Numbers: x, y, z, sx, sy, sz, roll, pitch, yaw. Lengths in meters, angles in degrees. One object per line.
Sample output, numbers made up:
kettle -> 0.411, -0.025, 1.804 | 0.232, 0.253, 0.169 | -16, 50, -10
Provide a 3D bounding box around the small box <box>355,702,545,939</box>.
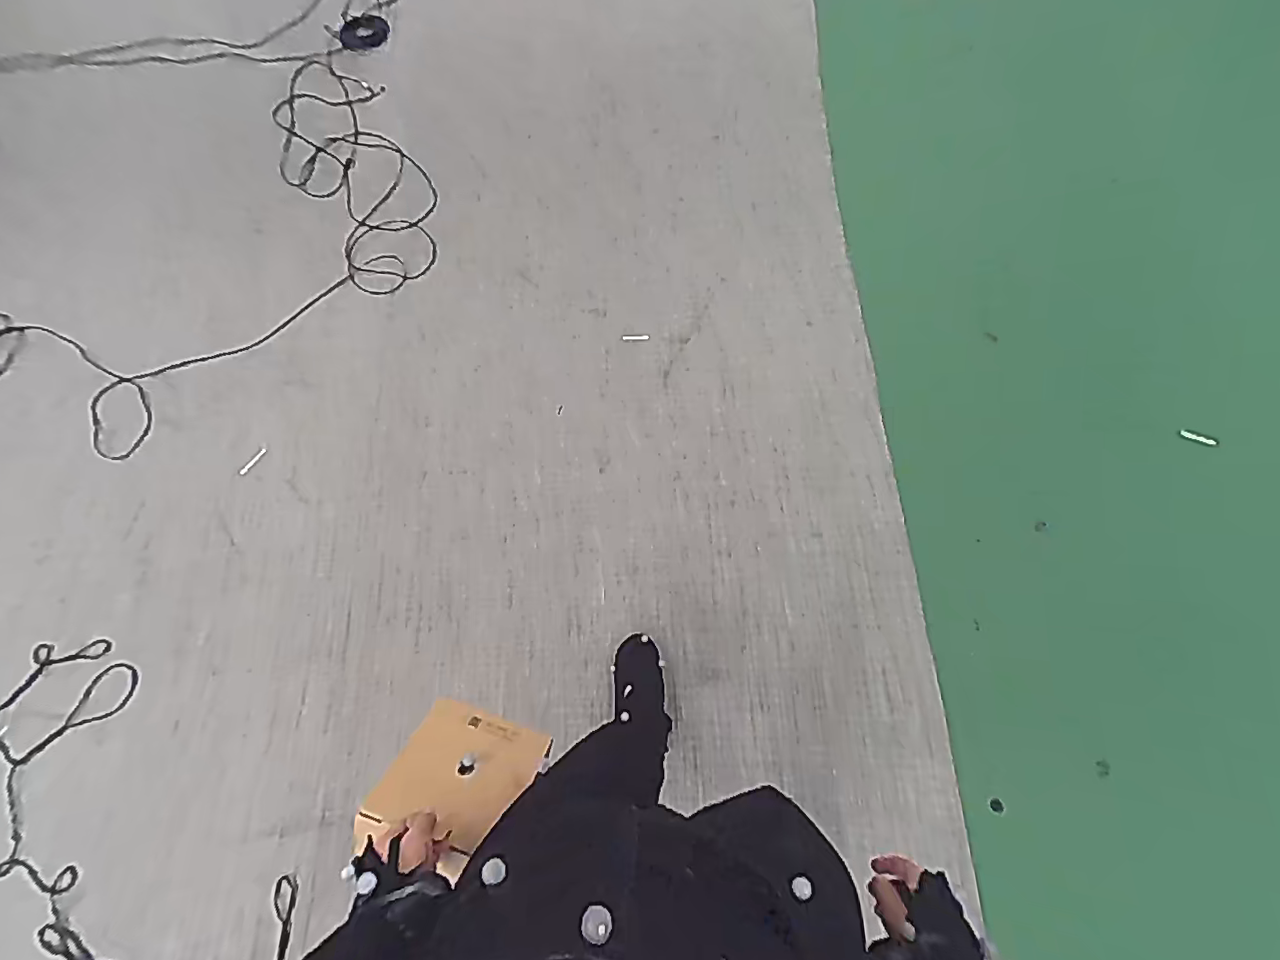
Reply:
small box -> -0.233, 0.421, 0.690 | 0.168, 0.176, 0.179 | 18, 117, 5
